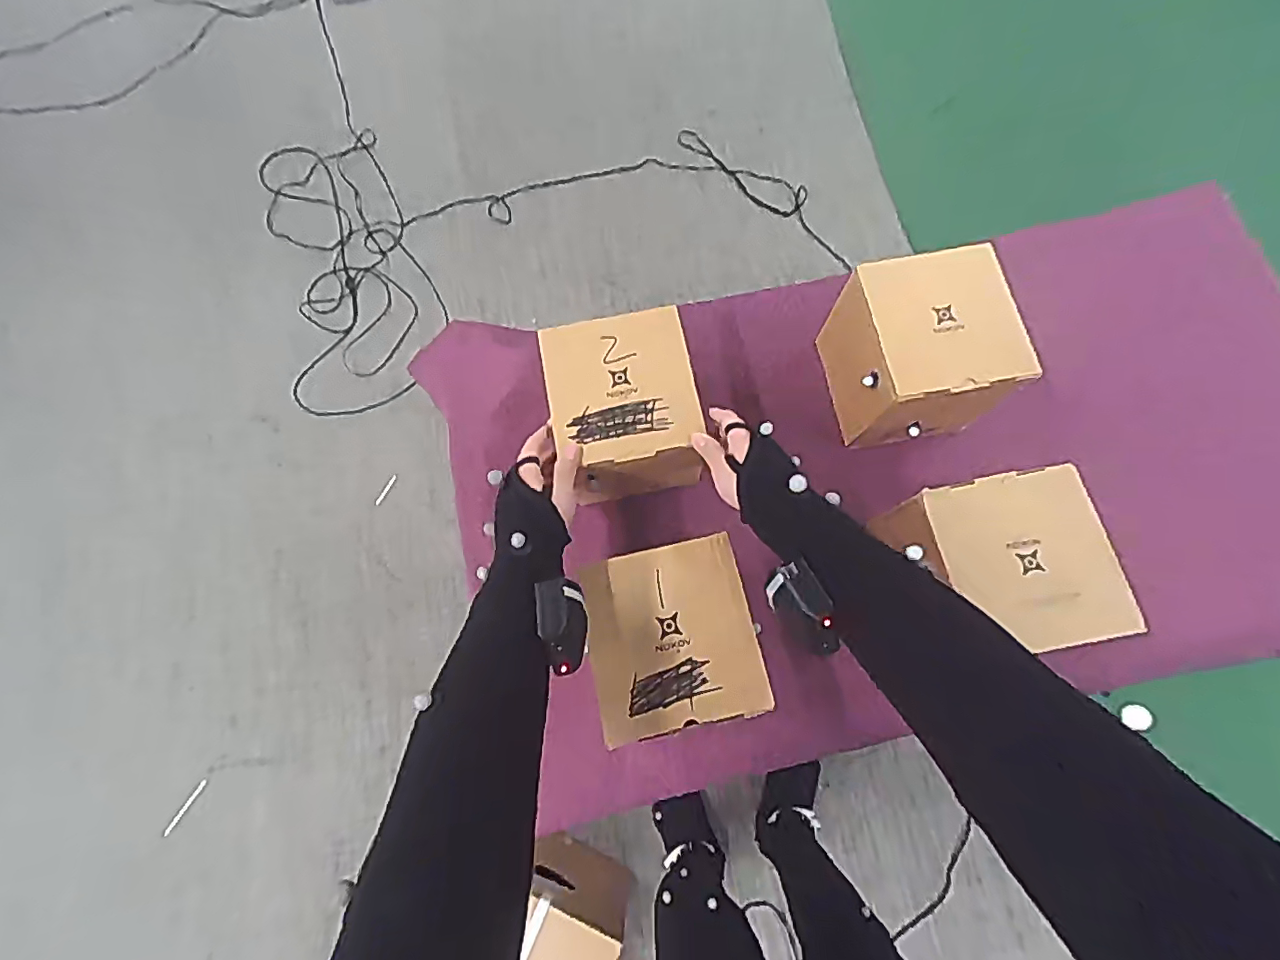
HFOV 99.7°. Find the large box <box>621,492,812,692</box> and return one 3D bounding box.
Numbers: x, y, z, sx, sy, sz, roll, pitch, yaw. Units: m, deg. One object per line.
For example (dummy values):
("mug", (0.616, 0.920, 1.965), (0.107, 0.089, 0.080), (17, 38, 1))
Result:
("large box", (0.157, 0.284, 1.250), (0.320, 0.320, 0.408), (-12, 73, -1))

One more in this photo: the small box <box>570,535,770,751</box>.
("small box", (0.030, 0.174, 0.596), (0.168, 0.176, 0.179), (-12, 72, -1))

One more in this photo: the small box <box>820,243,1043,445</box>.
("small box", (0.344, -0.161, 0.680), (0.168, 0.176, 0.179), (-10, 76, -1))

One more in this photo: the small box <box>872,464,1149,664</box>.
("small box", (0.384, 0.100, 0.603), (0.168, 0.176, 0.179), (-10, 74, 0))
